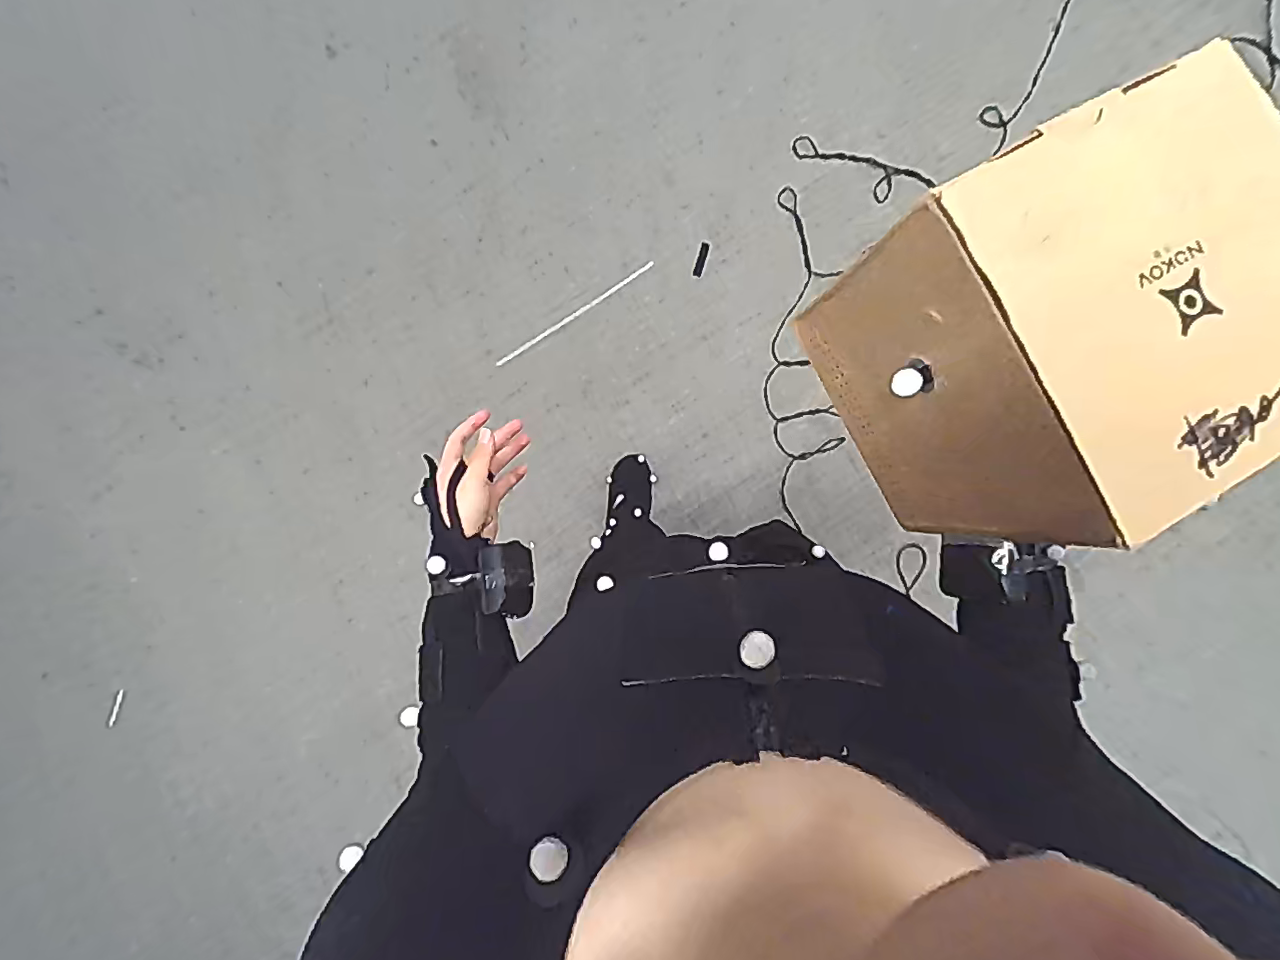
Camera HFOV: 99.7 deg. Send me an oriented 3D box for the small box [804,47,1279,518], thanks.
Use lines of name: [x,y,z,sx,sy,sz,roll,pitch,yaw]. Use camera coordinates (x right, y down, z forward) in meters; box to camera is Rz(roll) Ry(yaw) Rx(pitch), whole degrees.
small box: [0.229,-0.087,0.325,0.168,0.176,0.179,-29,89,-5]
